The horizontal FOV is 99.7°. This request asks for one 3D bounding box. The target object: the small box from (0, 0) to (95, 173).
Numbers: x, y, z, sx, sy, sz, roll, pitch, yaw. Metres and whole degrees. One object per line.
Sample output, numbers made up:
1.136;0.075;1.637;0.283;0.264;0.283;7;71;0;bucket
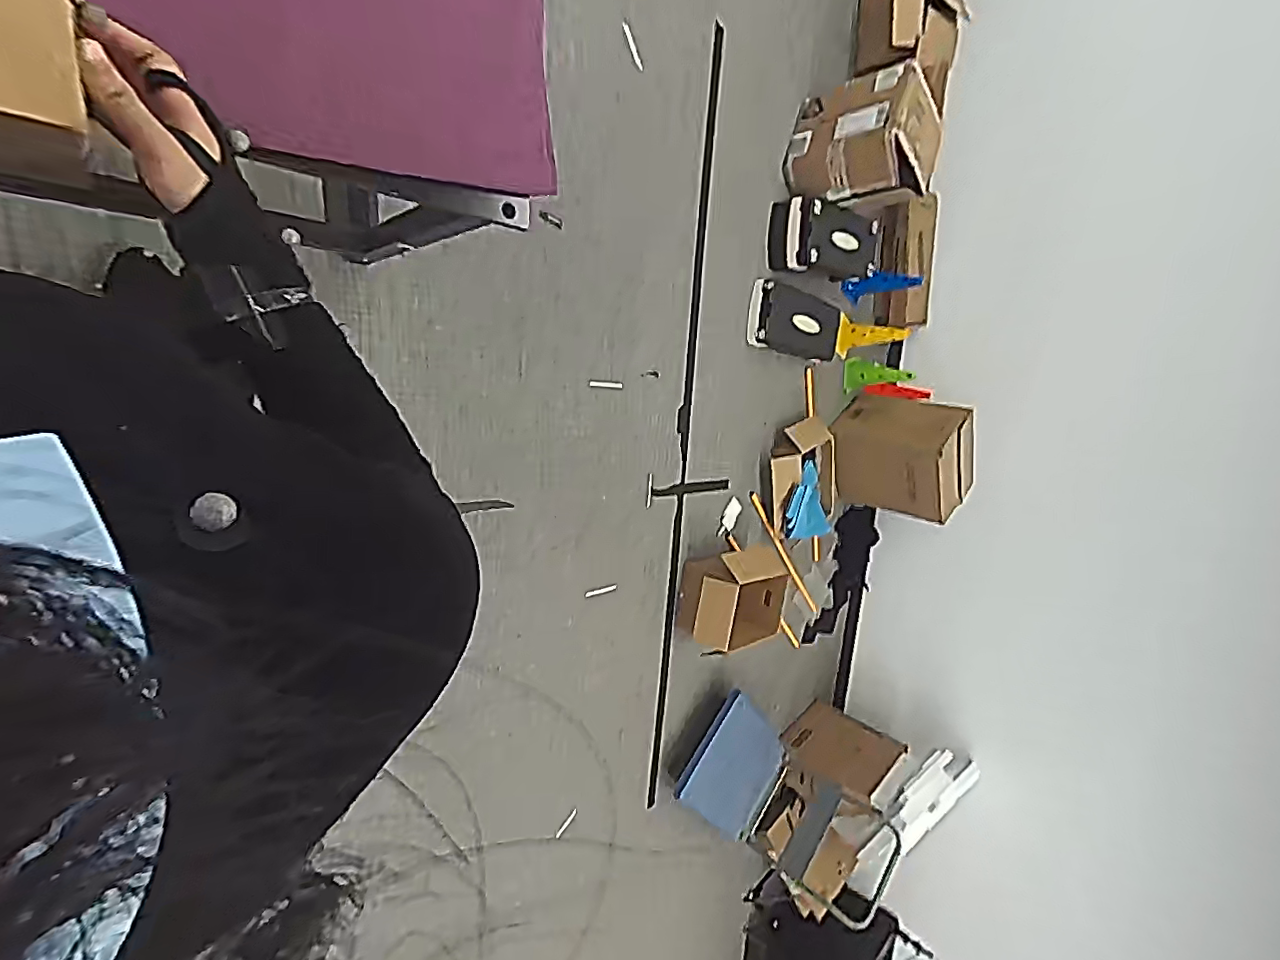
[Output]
-0.408;-0.286;0.281;0.168;0.176;0.179;-8;106;-45;small box
